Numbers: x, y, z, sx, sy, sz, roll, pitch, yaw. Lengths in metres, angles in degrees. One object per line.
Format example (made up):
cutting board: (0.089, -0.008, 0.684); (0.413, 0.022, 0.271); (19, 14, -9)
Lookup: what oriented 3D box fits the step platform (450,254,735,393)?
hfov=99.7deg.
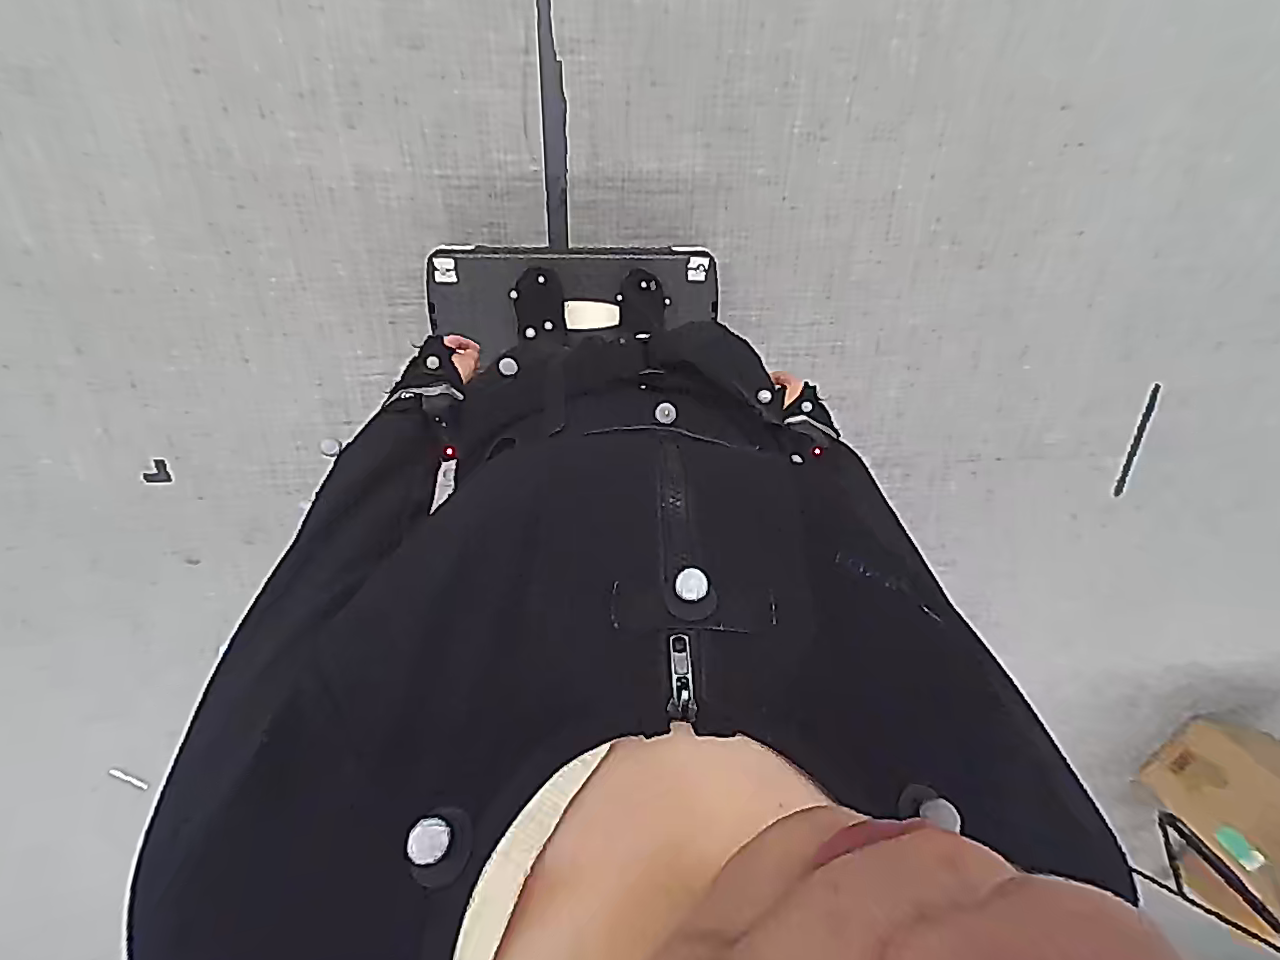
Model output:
step platform: (-0.111, -0.385, 1.345); (0.684, 0.204, 0.286); (2, 113, -8)
